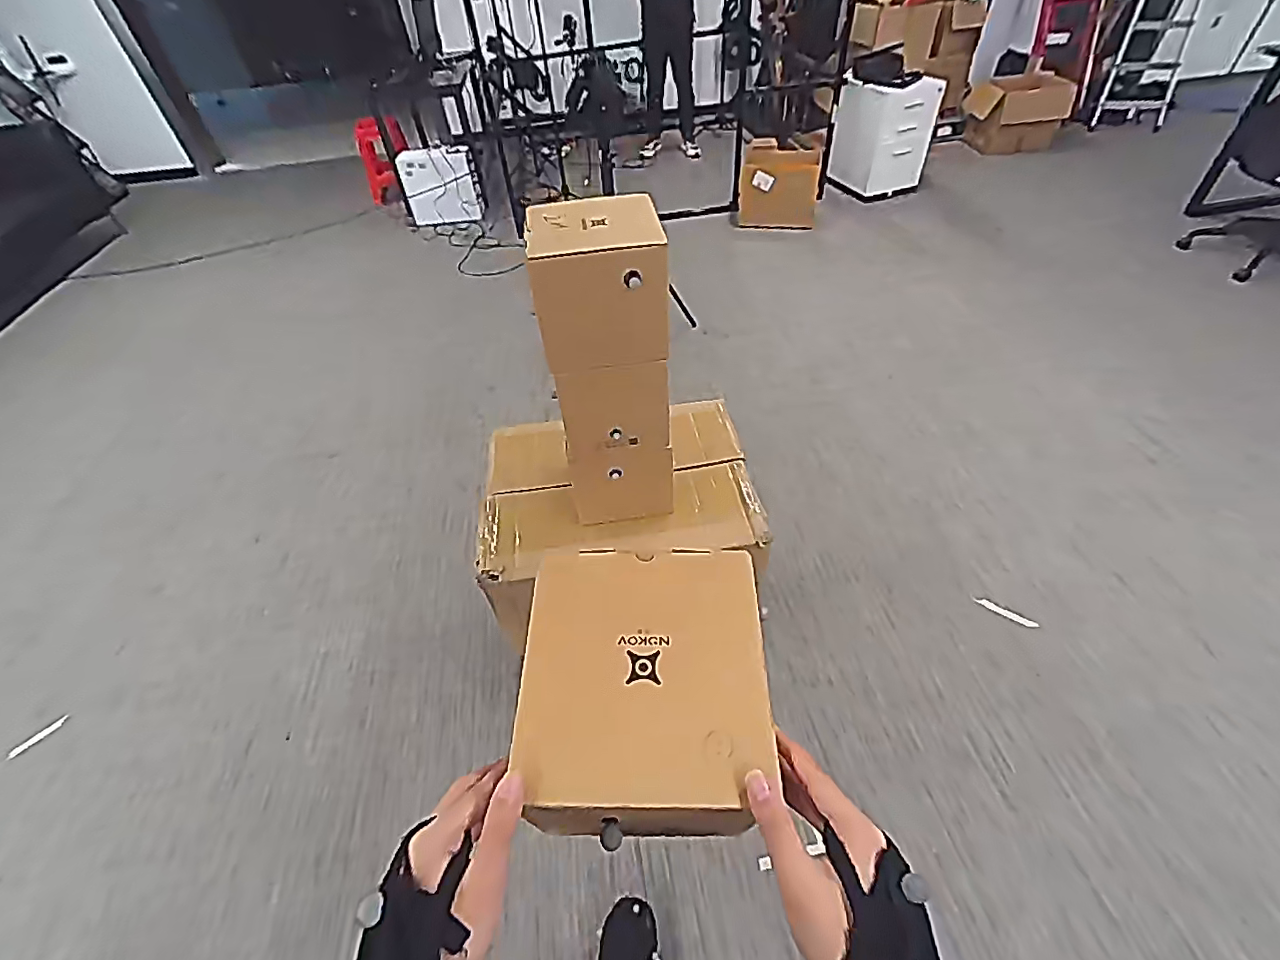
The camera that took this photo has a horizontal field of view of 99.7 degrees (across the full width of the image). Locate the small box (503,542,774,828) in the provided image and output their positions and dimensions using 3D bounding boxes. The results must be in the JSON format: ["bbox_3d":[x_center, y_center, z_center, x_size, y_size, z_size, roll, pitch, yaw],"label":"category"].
[{"bbox_3d":[0.002,0.168,0.432,0.168,0.176,0.179,-1,50,1],"label":"small box"}]

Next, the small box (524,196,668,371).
[{"bbox_3d":[-0.058,-0.274,0.761,0.179,0.176,0.168,-8,46,-3],"label":"small box"}]

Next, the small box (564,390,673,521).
[{"bbox_3d":[-0.039,-0.041,0.994,0.179,0.176,0.168,-8,46,-3],"label":"small box"}]
